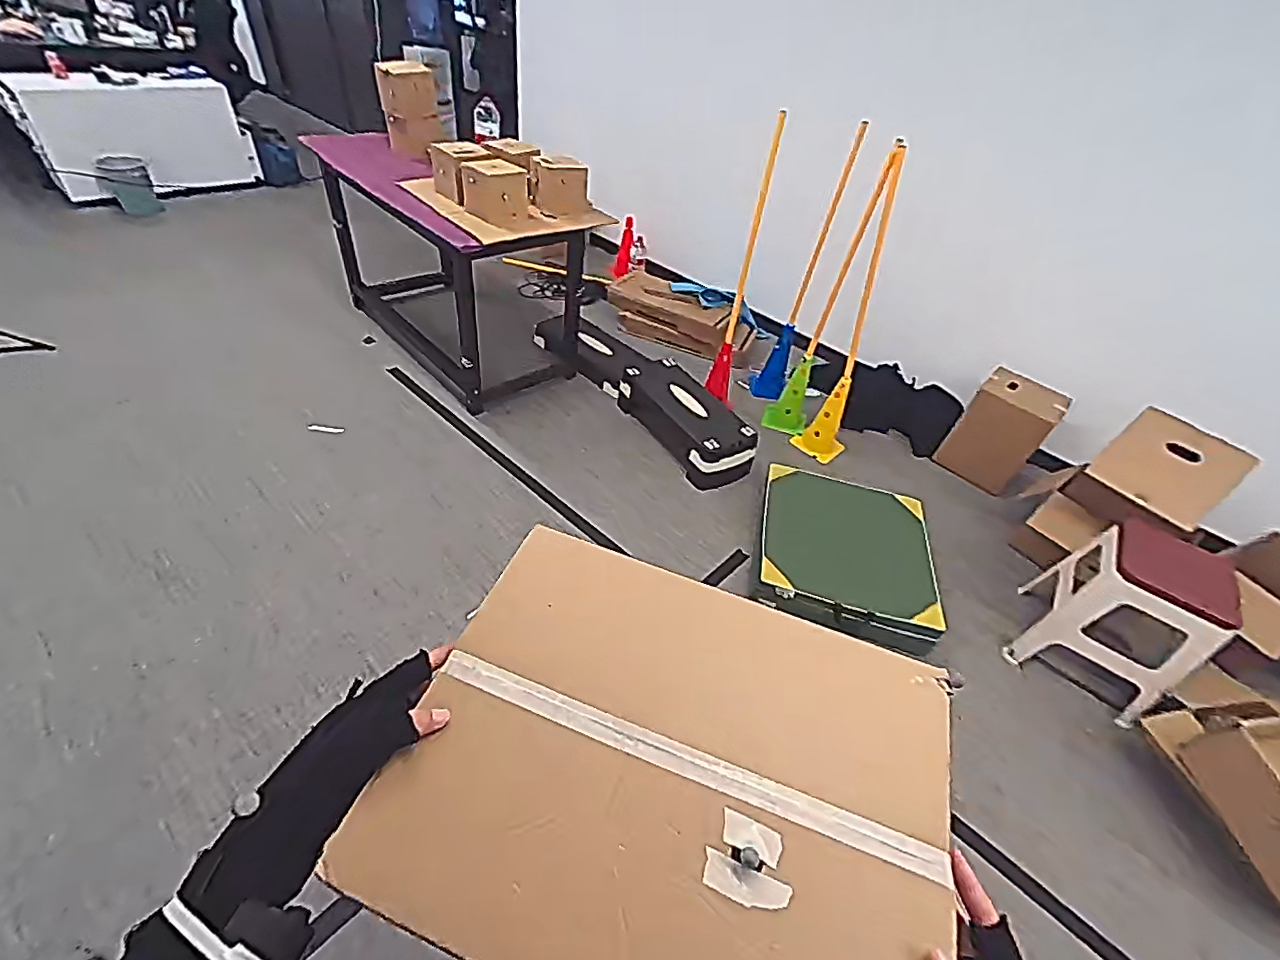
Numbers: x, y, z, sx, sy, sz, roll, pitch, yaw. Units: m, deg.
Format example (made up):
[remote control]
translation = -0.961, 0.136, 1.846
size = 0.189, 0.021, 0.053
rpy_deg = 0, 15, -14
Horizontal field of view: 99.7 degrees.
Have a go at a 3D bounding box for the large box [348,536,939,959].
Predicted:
[large box]
translation = 0.020, 0.318, 0.542
size = 0.408, 0.320, 0.320
rpy_deg = 19, 50, 11
